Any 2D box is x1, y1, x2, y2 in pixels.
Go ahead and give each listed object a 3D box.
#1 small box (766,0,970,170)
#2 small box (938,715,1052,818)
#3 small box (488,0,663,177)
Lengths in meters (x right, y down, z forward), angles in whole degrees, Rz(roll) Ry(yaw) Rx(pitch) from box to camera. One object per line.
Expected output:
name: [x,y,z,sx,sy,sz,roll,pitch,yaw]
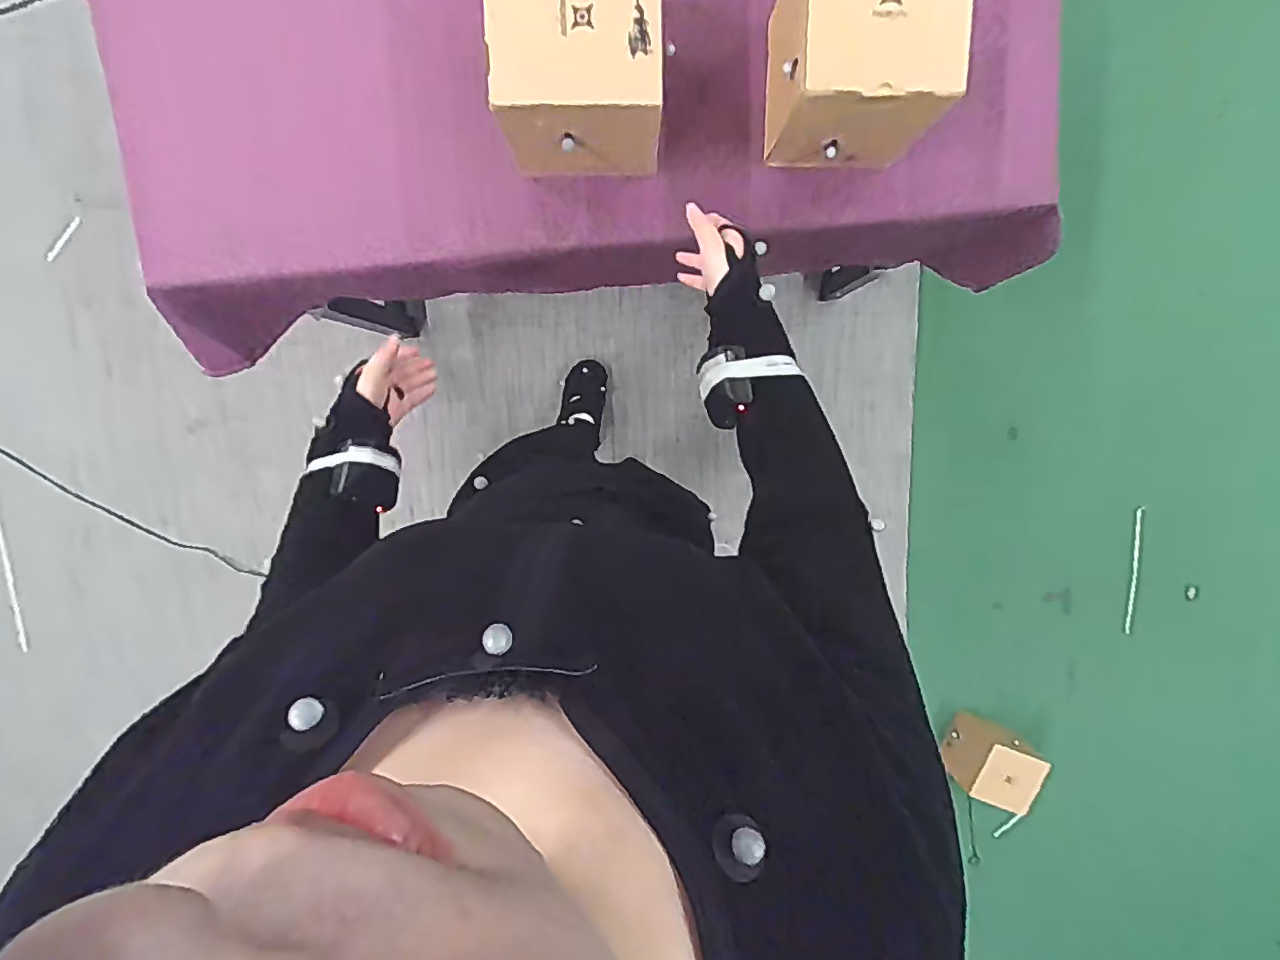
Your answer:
small box: [0.247,-0.486,0.619,0.168,0.176,0.179,0,98,-1]
small box: [0.996,0.802,1.533,0.179,0.176,0.168,22,97,-3]
small box: [-0.064,-0.465,0.616,0.179,0.176,0.168,-1,98,0]
